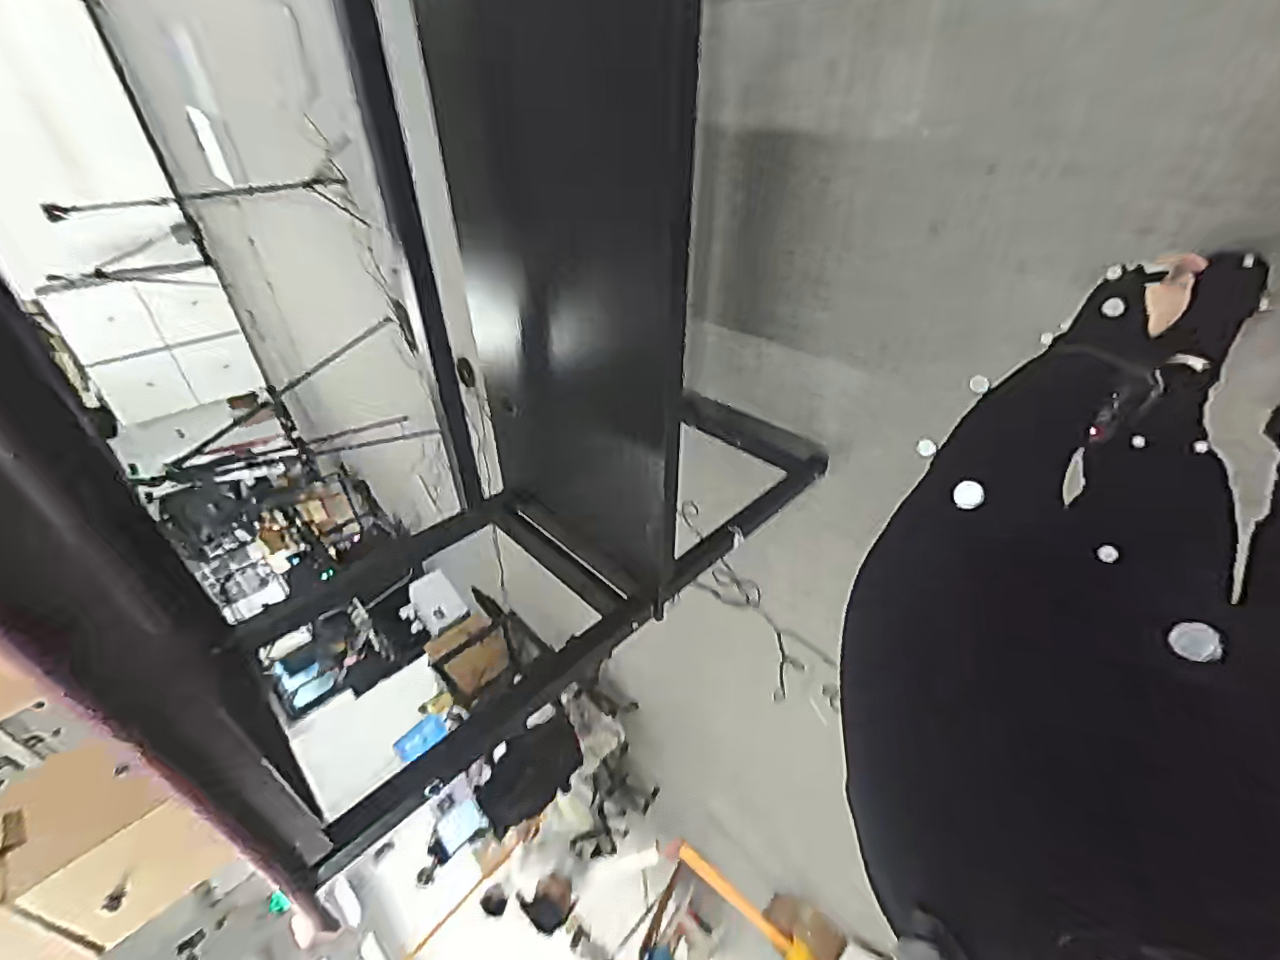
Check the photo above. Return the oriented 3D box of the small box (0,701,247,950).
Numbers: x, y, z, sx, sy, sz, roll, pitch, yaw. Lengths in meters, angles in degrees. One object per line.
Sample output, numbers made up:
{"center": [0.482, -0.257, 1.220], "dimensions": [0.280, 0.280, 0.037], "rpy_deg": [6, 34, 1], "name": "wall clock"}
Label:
{"center": [-0.643, 0.428, 0.690], "dimensions": [0.168, 0.176, 0.179], "rpy_deg": [30, 135, 35], "name": "small box"}
